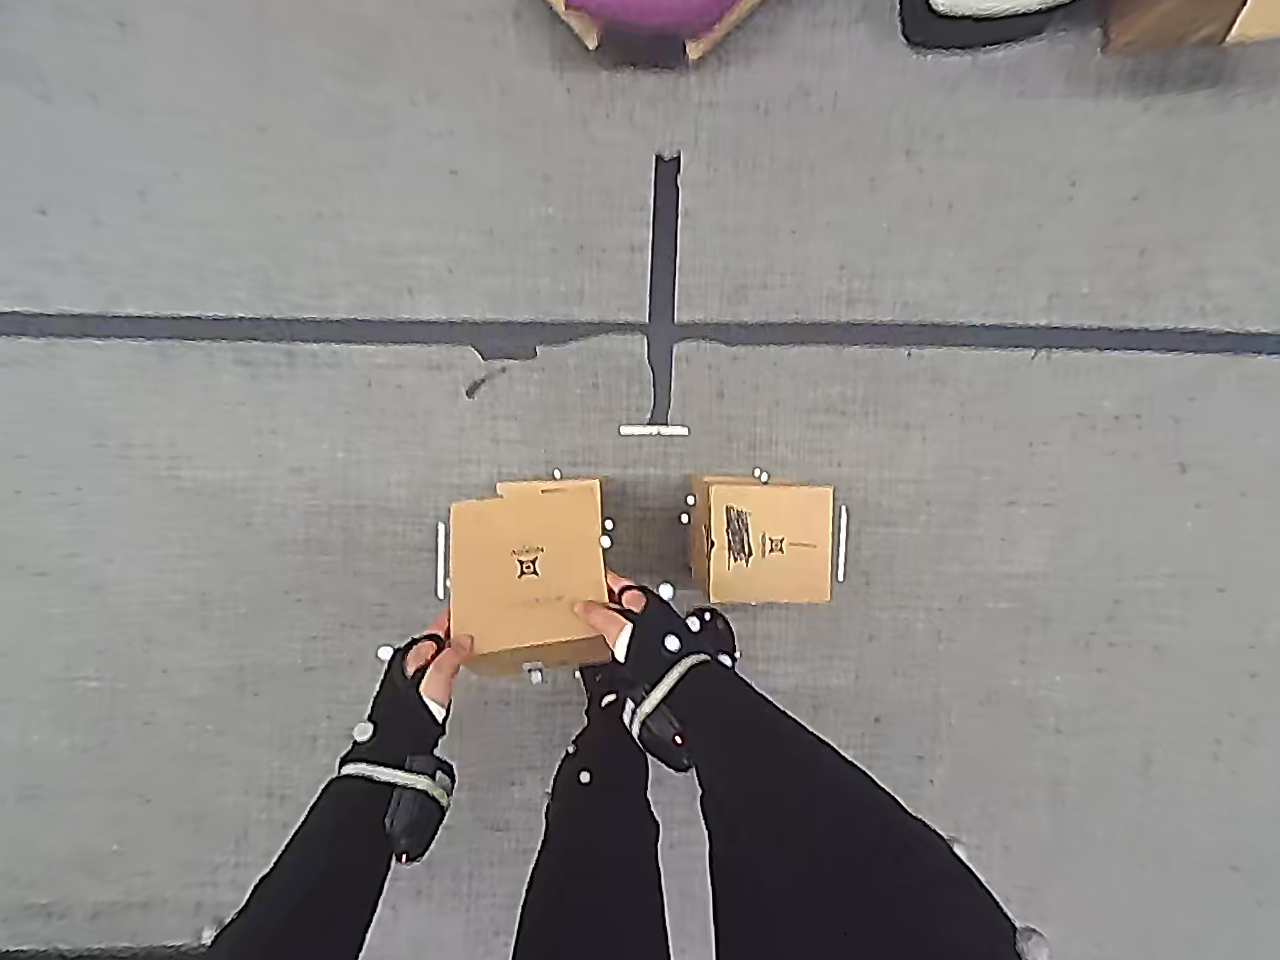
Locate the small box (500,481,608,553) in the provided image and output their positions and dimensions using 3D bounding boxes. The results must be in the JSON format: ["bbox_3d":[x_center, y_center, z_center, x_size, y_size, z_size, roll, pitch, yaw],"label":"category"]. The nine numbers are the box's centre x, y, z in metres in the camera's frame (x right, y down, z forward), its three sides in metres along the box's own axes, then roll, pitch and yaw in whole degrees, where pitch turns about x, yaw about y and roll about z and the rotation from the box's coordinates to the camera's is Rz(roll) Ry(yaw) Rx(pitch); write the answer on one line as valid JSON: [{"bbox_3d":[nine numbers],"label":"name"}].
[{"bbox_3d":[-0.148,0.089,0.990,0.179,0.176,0.168,-2,92,-1],"label":"small box"}]

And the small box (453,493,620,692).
[{"bbox_3d":[-0.119,0.138,0.643,0.168,0.176,0.179,-8,62,-7],"label":"small box"}]

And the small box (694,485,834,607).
[{"bbox_3d":[0.181,0.094,0.837,0.179,0.176,0.168,1,92,-3],"label":"small box"}]

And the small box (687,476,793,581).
[{"bbox_3d":[0.180,0.088,1.003,0.168,0.176,0.179,3,93,-2],"label":"small box"}]
